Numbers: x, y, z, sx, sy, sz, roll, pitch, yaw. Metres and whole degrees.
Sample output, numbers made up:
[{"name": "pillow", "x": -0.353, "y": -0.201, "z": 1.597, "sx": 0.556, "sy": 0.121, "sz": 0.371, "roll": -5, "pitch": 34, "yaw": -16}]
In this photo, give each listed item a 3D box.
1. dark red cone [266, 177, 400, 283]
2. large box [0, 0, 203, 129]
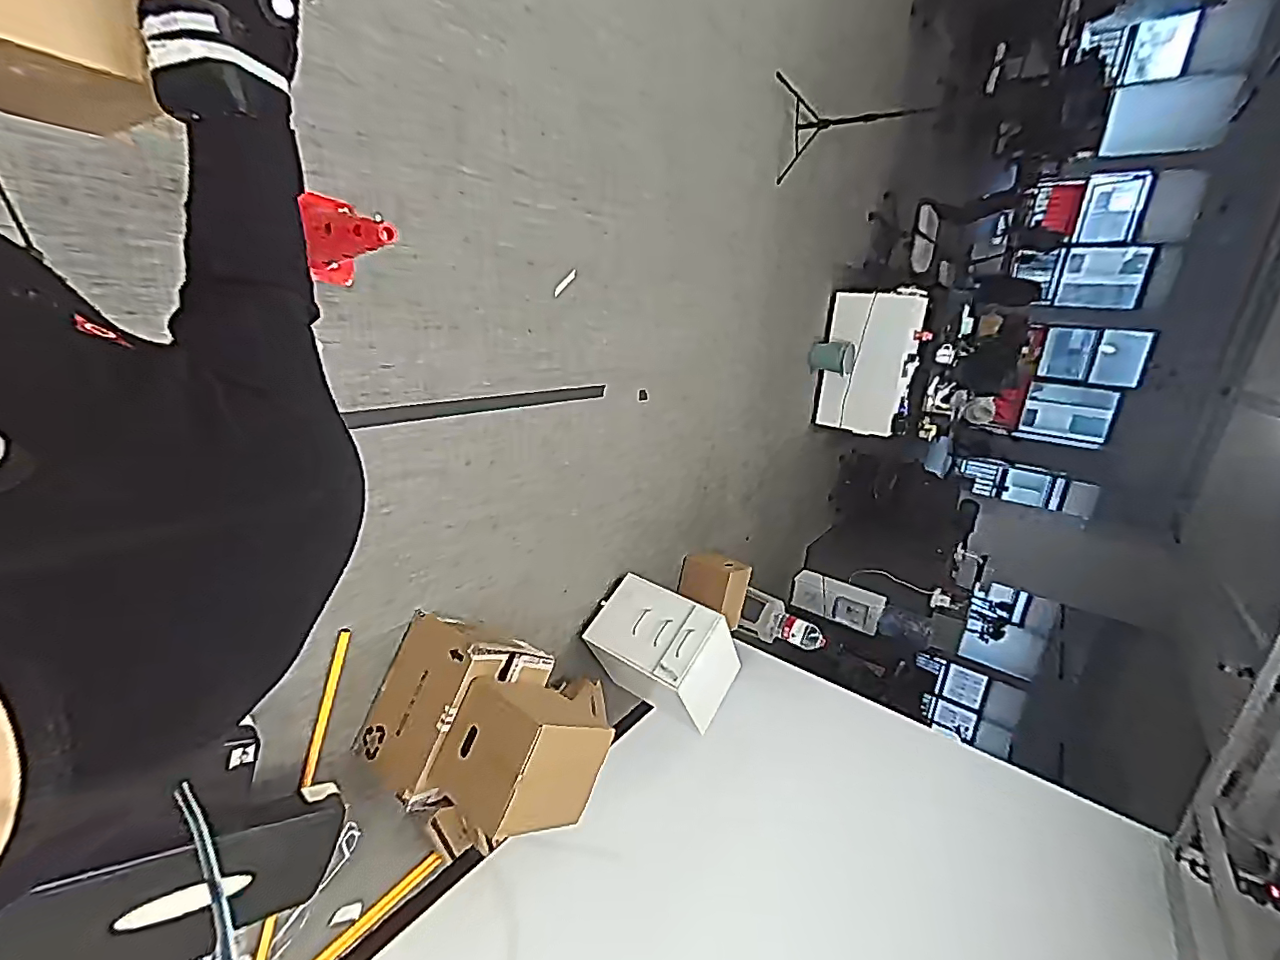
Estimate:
[{"name": "dark red cone", "x": -0.643, "y": -0.542, "z": 1.187, "sx": 0.201, "sy": 0.394, "sz": 0.202, "roll": -9, "pitch": 111, "yaw": -52}, {"name": "large box", "x": -0.540, "y": -0.433, "z": 0.281, "sx": 0.408, "sy": 0.320, "sz": 0.320, "roll": -15, "pitch": 118, "yaw": -51}]
